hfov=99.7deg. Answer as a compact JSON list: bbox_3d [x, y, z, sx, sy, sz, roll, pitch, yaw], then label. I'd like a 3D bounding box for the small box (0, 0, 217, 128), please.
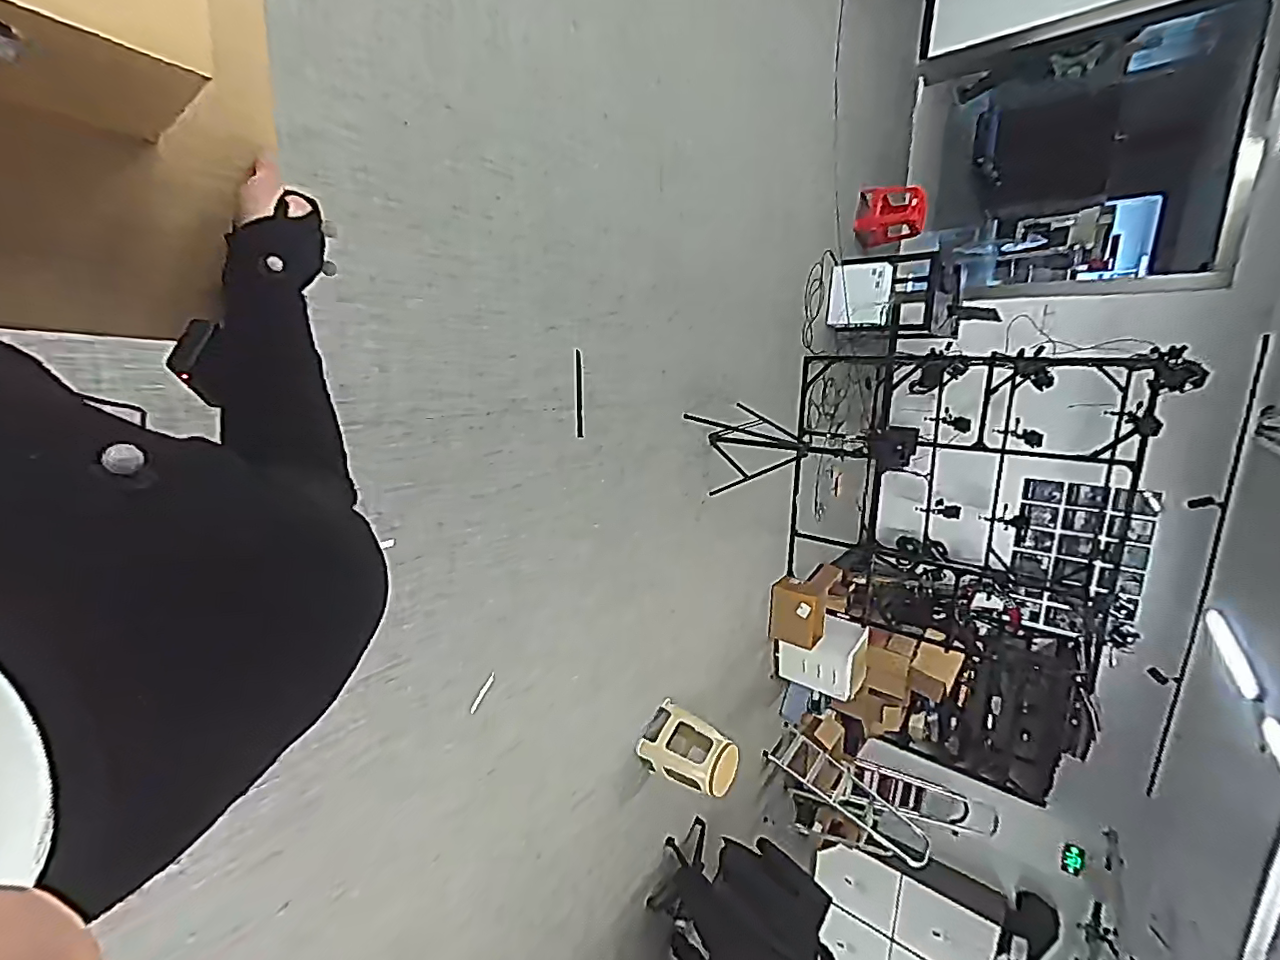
[{"bbox_3d":[-0.408,-0.357,0.347,0.179,0.176,0.168,-10,105,-50],"label":"small box"}]
